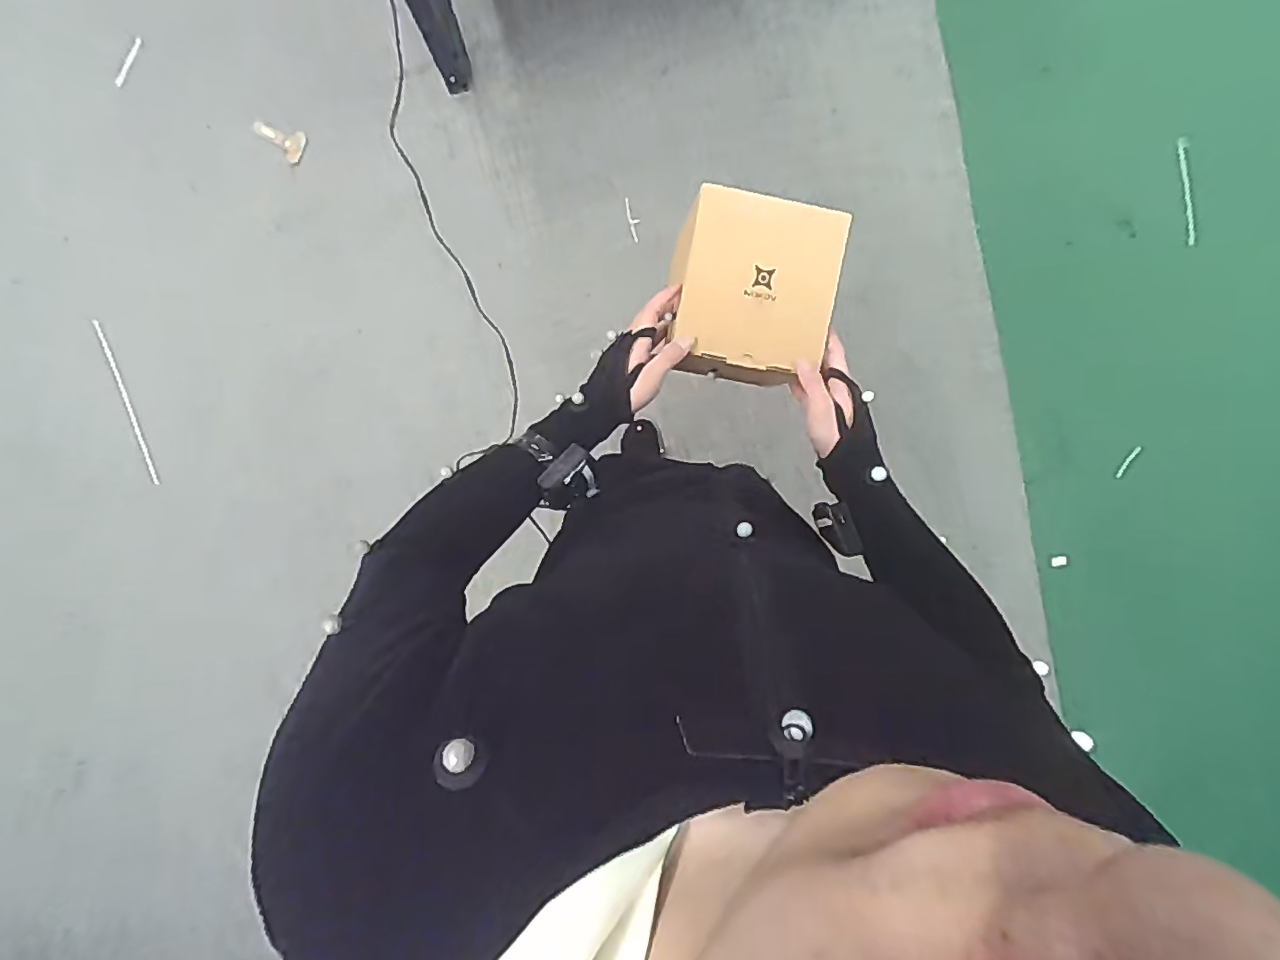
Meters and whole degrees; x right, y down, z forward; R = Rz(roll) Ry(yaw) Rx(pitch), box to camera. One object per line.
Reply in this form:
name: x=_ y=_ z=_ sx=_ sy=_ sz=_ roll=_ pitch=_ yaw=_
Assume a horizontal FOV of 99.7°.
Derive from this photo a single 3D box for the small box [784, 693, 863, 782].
small box: x=0.550 y=0.768 z=1.638 sx=0.168 sy=0.176 sz=0.179 roll=-12 pitch=96 yaw=0
